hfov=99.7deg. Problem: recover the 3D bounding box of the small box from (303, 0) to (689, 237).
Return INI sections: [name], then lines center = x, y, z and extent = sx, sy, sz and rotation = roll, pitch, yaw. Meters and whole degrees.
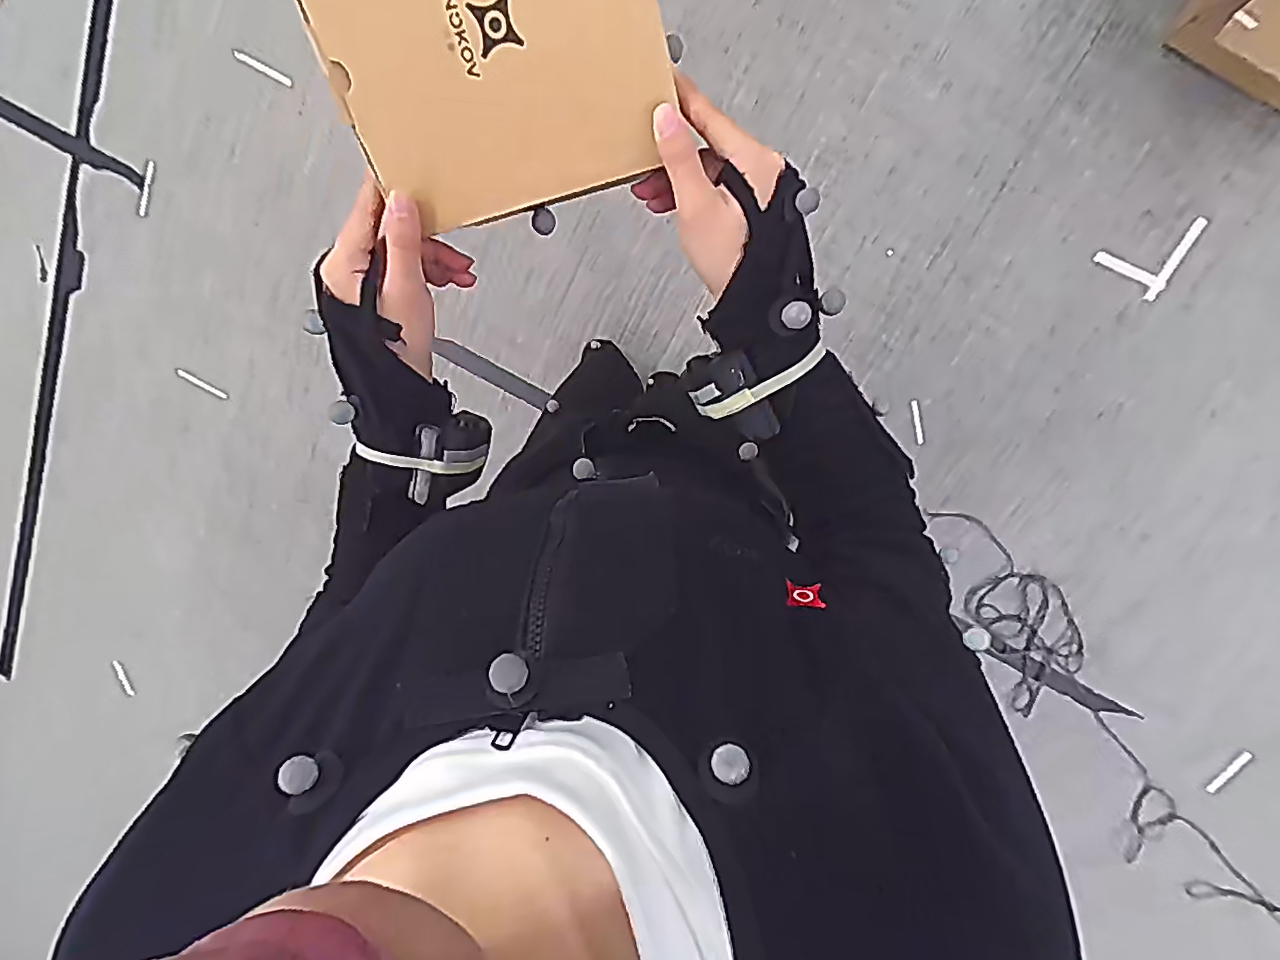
[small box]
center = -0.076, -0.268, 0.341
extent = 0.179, 0.176, 0.168
rotation = -13, 118, 7
